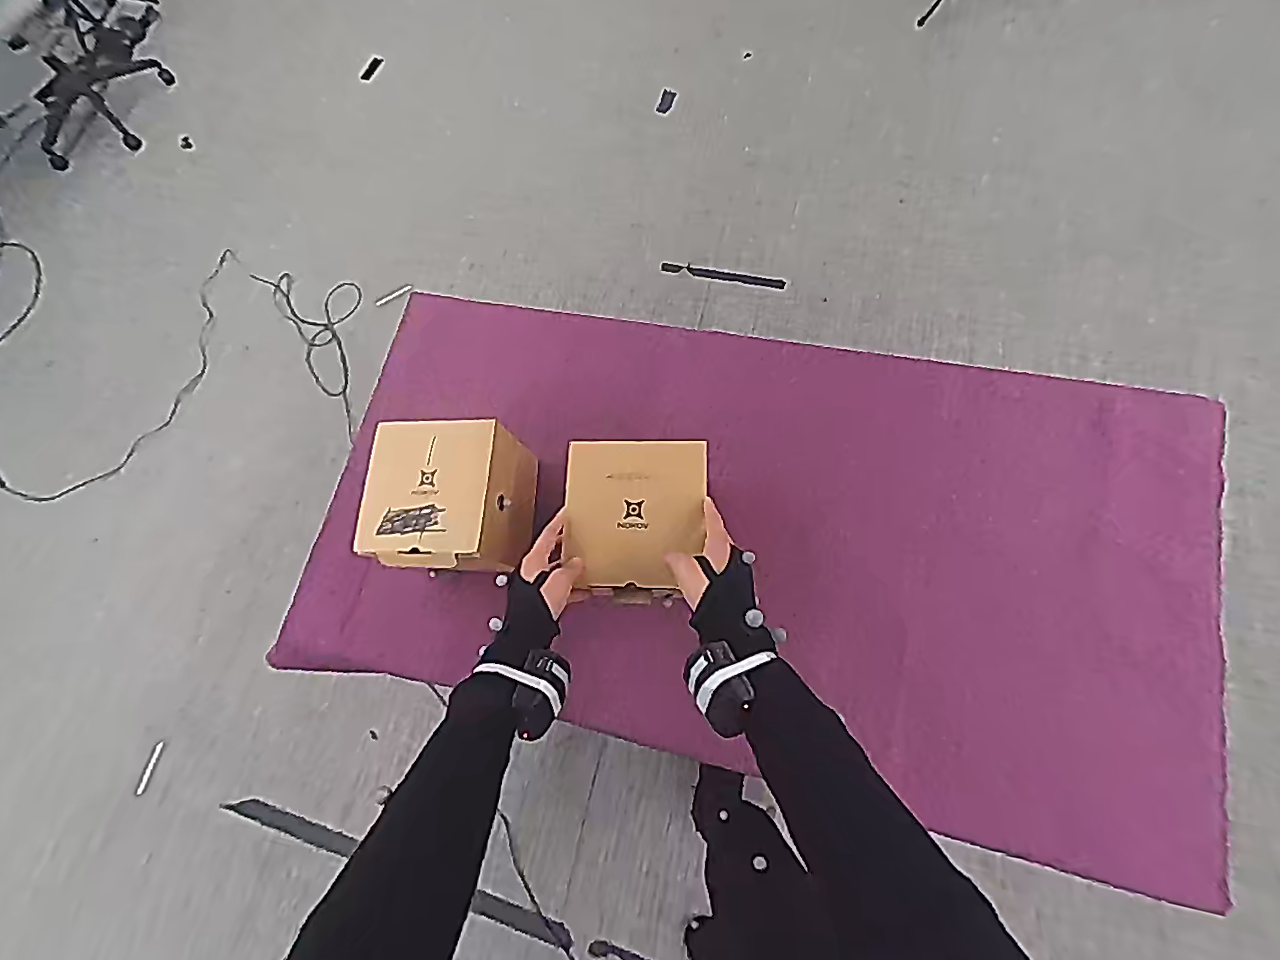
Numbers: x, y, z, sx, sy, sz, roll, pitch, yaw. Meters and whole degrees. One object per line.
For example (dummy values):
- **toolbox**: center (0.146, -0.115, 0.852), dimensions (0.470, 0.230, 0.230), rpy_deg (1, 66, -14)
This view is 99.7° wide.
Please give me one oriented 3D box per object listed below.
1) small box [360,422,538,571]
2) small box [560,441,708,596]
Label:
- **small box**: center (-0.251, 0.031, 0.754), dimensions (0.168, 0.176, 0.179), rpy_deg (0, 73, 9)
- **small box**: center (0.003, 0.058, 0.704), dimensions (0.168, 0.176, 0.179), rpy_deg (1, 75, 8)
